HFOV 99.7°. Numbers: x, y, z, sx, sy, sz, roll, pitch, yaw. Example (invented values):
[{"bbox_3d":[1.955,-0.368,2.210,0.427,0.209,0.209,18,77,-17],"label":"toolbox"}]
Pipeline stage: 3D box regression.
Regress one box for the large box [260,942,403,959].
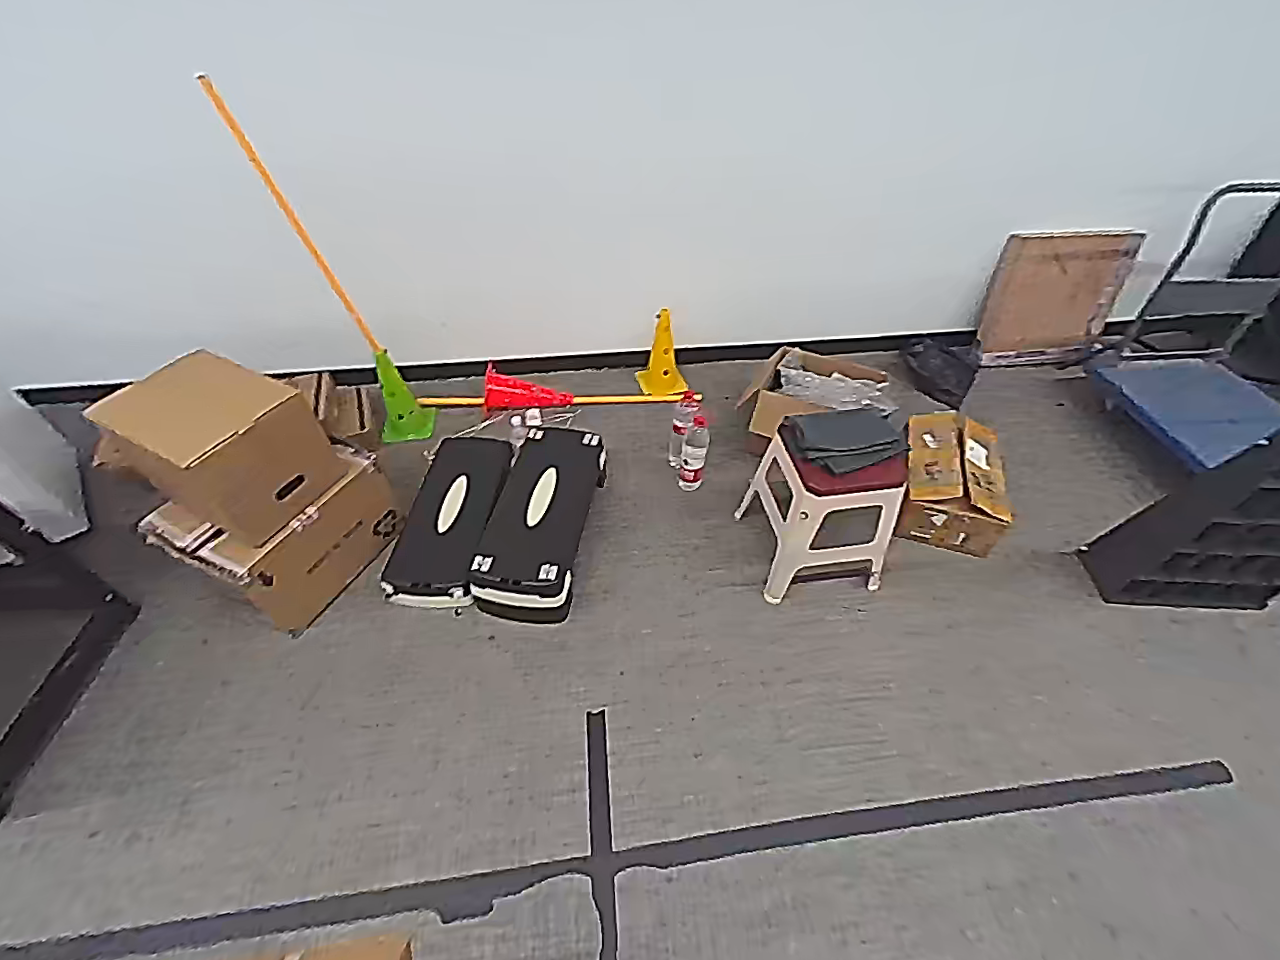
[{"bbox_3d":[-0.468,0.813,0.570,0.320,0.408,0.320,-6,83,-4],"label":"large box"}]
